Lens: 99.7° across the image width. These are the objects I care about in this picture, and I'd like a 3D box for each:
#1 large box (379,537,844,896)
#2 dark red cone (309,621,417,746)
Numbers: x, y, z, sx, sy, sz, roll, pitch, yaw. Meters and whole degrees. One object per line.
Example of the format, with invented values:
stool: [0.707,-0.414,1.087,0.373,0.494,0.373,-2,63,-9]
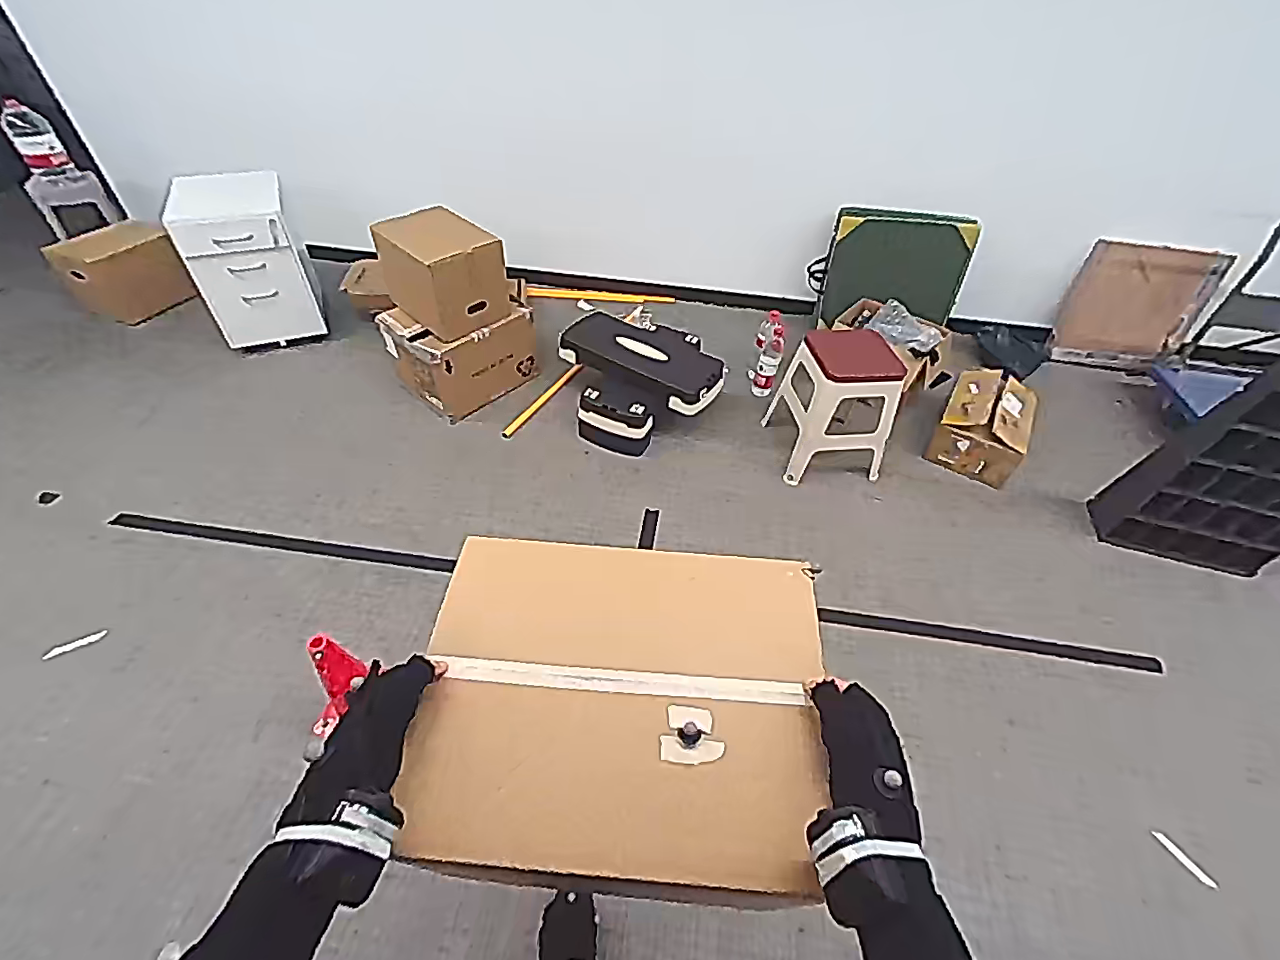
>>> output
large box: [-0.022,0.293,0.661,0.408,0.320,0.320,5,51,2]
dark red cone: [-0.698,0.452,1.281,0.201,0.394,0.202,13,47,7]
